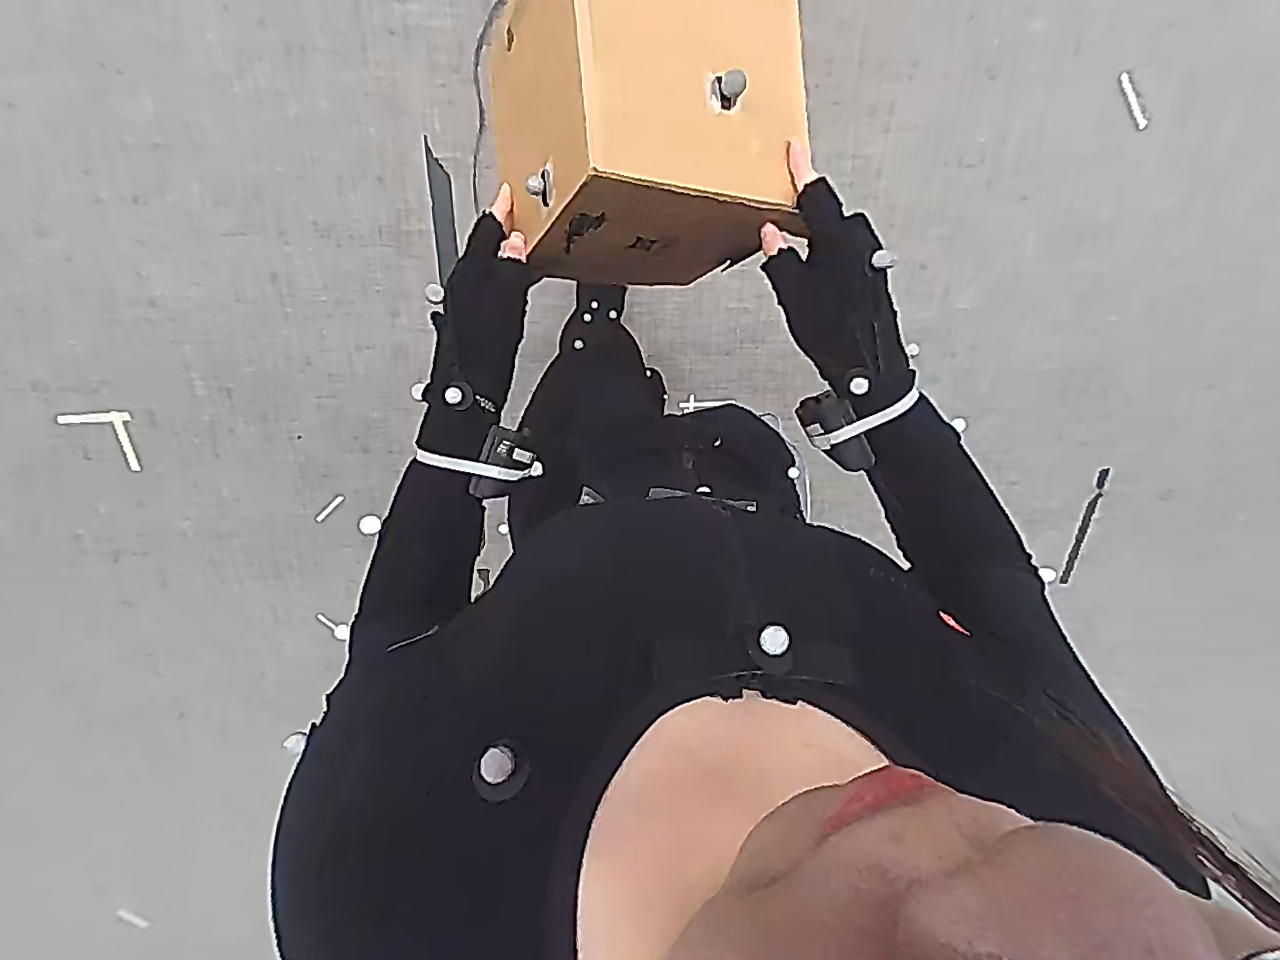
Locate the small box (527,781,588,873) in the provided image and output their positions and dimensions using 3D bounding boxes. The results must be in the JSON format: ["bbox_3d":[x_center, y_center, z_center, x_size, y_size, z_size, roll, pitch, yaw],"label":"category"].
[{"bbox_3d":[-0.241,1.028,1.614,0.168,0.176,0.179,-2,112,-3],"label":"small box"}]

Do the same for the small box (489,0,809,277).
[{"bbox_3d":[0.000,-0.268,0.406,0.179,0.168,0.176,-8,92,-29],"label":"small box"}]
